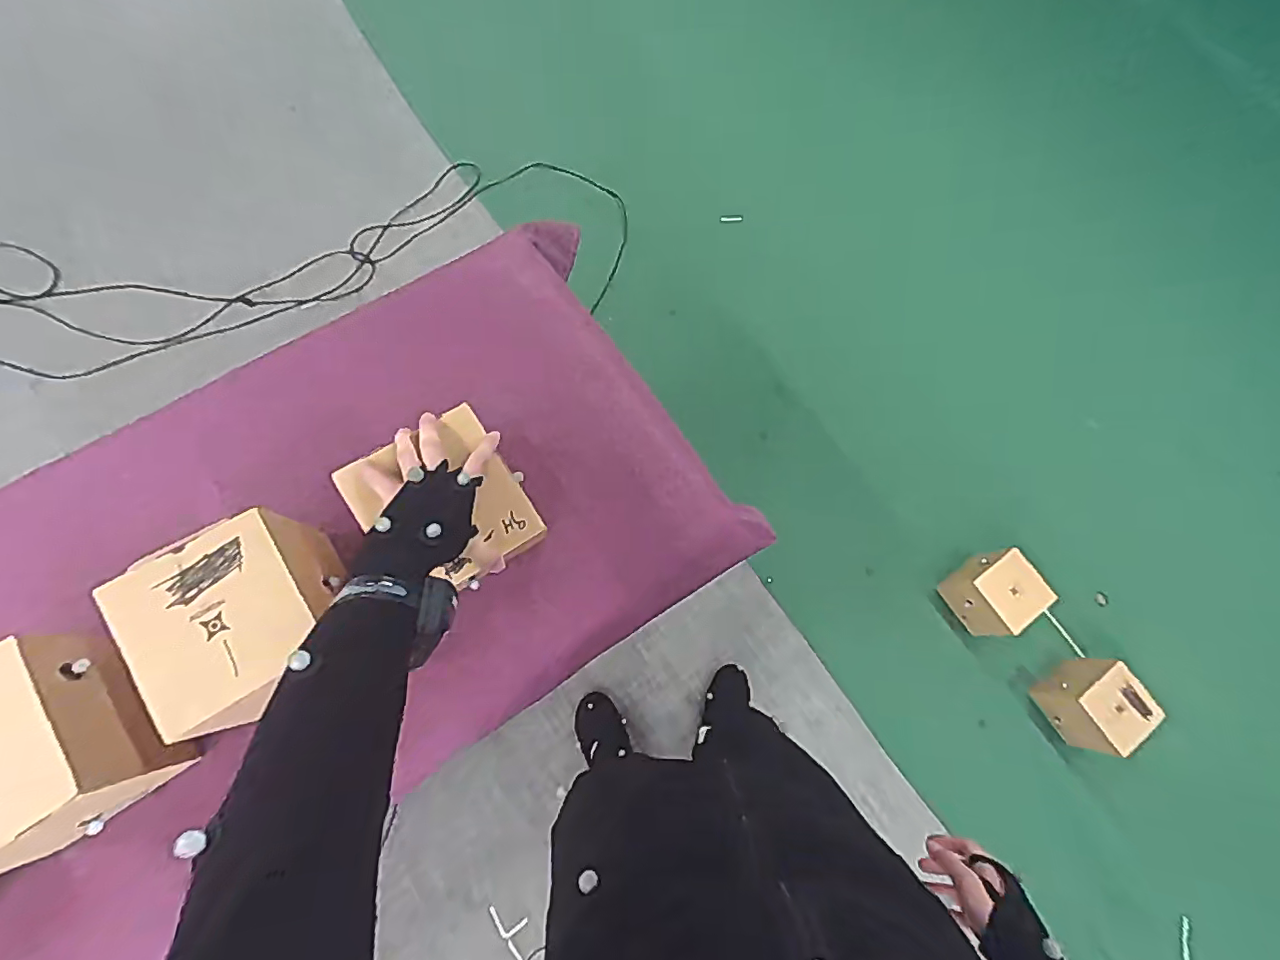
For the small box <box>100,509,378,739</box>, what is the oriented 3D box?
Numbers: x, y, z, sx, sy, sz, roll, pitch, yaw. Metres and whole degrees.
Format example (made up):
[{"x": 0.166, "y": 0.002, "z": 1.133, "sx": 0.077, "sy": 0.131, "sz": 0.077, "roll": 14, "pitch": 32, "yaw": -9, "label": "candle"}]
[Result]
[{"x": -0.440, "y": 0.162, "z": 0.624, "sx": 0.168, "sy": 0.176, "sz": 0.179, "roll": -31, "pitch": 80, "yaw": -14, "label": "small box"}]

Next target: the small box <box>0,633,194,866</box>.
[{"x": -0.634, "y": 0.282, "z": 0.568, "sx": 0.168, "sy": 0.176, "sz": 0.179, "roll": -33, "pitch": 80, "yaw": -14, "label": "small box"}]

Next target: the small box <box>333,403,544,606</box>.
[{"x": -0.234, "y": 0.037, "z": 0.671, "sx": 0.168, "sy": 0.176, "sz": 0.179, "roll": -32, "pitch": 87, "yaw": -13, "label": "small box"}]

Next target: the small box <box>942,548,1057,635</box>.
[{"x": 0.977, "y": 0.315, "z": 1.493, "sx": 0.179, "sy": 0.176, "sz": 0.168, "roll": -32, "pitch": 79, "yaw": -15, "label": "small box"}]
